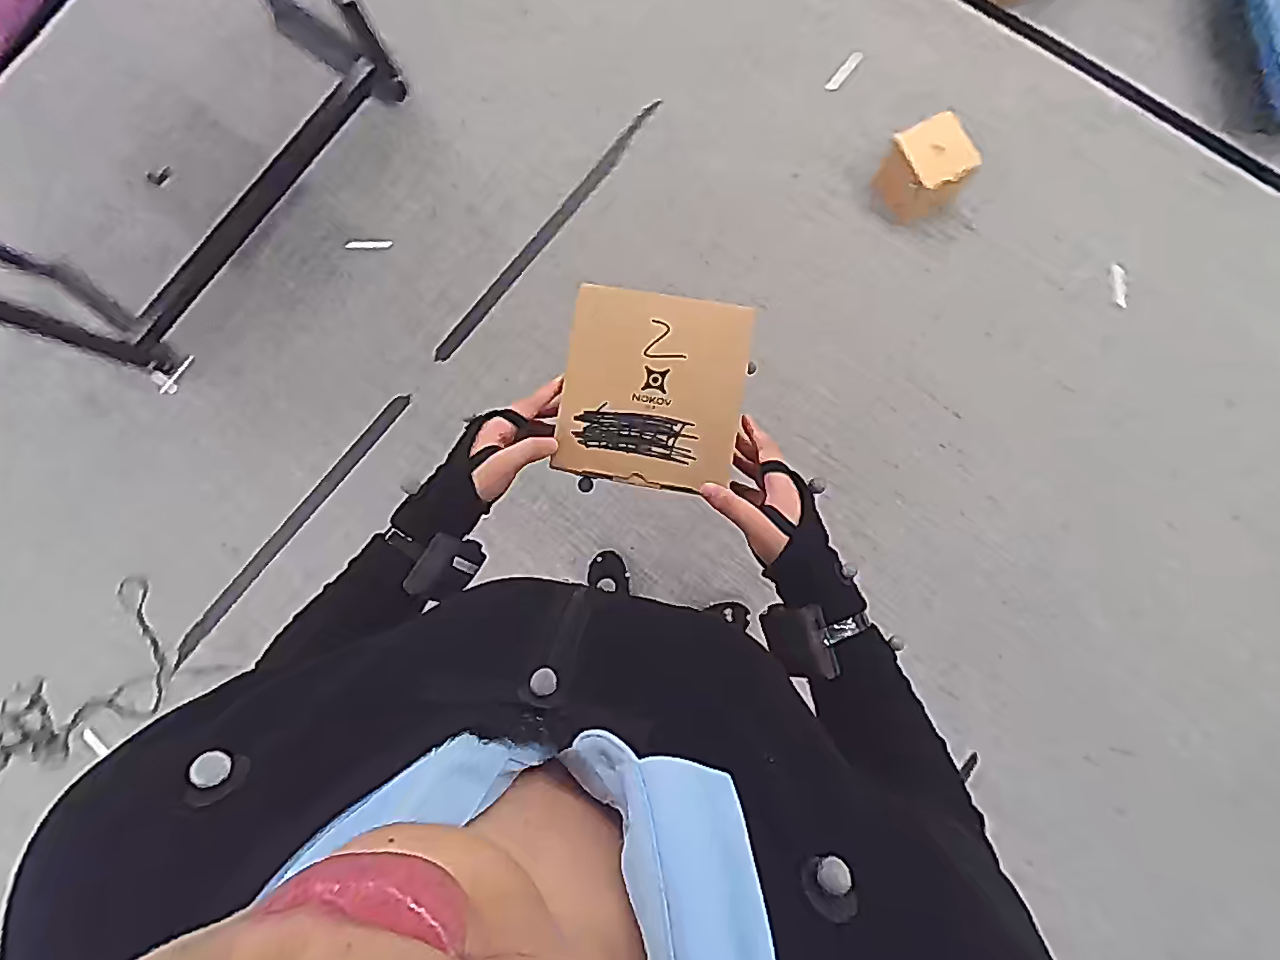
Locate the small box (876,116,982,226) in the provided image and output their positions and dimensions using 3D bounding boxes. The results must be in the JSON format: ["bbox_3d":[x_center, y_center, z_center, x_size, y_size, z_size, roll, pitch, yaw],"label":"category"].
[{"bbox_3d":[0.798,-0.857,1.514,0.168,0.176,0.179,-26,83,-1],"label":"small box"}]

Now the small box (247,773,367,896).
[{"bbox_3d":[-0.830,0.885,1.372,0.168,0.176,0.179,23,85,5],"label":"small box"}]
